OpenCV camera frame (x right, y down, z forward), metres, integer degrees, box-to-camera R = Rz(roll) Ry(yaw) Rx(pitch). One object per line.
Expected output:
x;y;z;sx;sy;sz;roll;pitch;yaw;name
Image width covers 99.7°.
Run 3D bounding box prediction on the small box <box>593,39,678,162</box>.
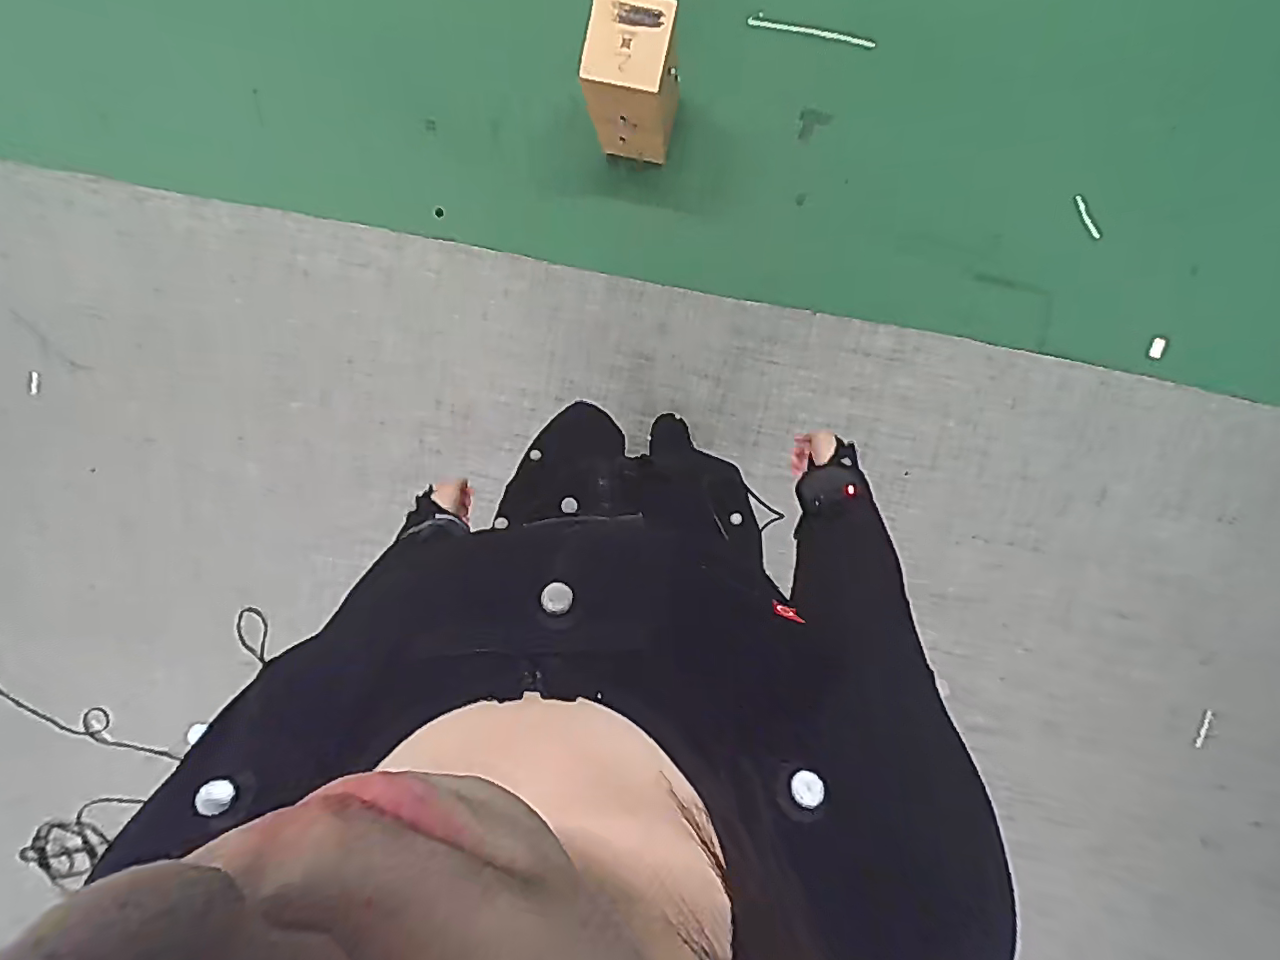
-0.003;-0.901;1.301;0.168;0.176;0.179;13;97;3;small box
